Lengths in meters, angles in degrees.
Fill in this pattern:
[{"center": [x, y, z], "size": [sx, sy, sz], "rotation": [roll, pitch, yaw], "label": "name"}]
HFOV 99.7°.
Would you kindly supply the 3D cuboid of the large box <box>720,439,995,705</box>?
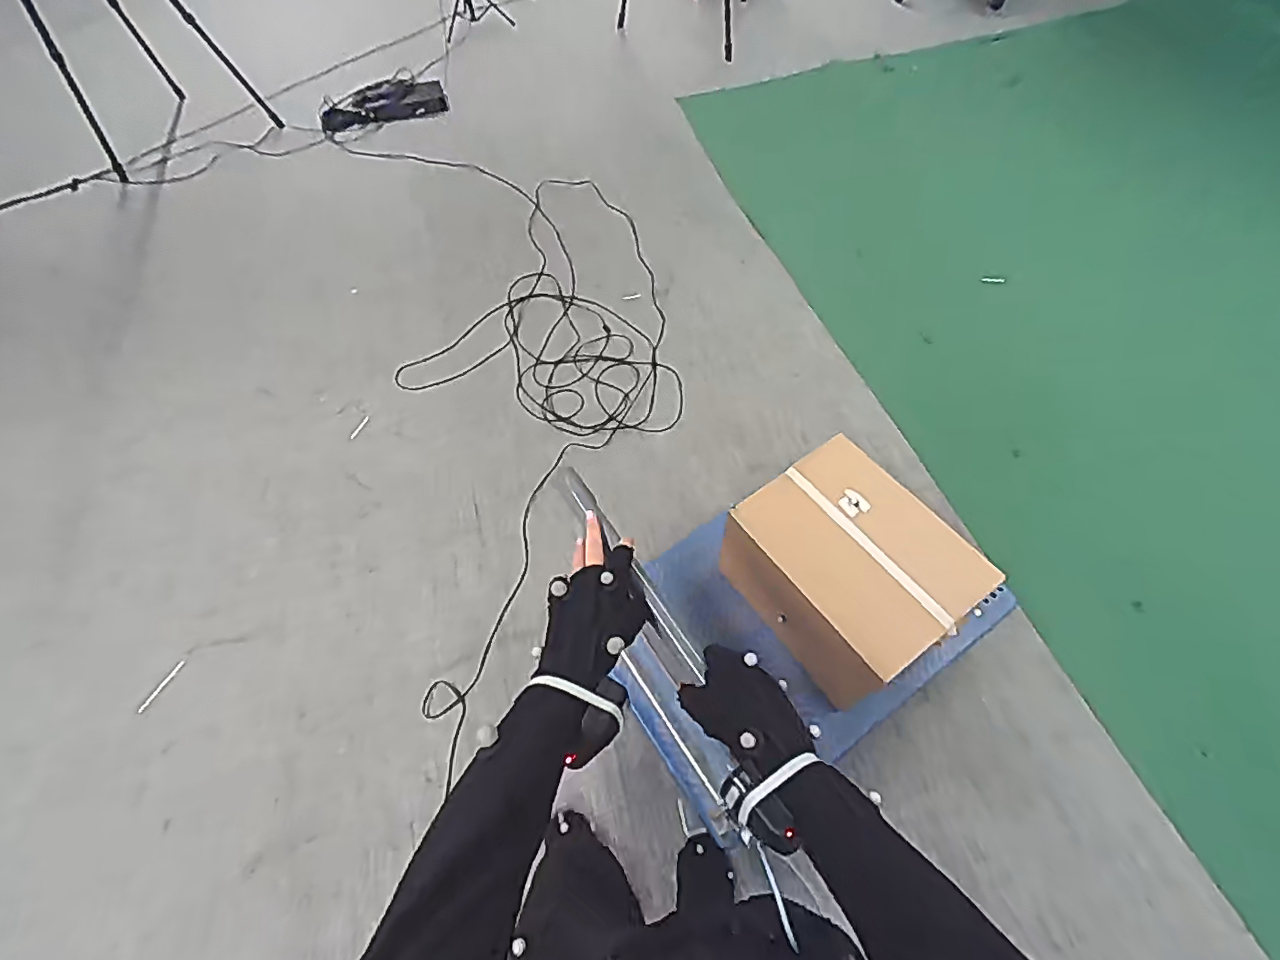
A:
[{"center": [0.420, 0.199, 1.155], "size": [0.320, 0.320, 0.408], "rotation": [-32, 62, -15], "label": "large box"}]
